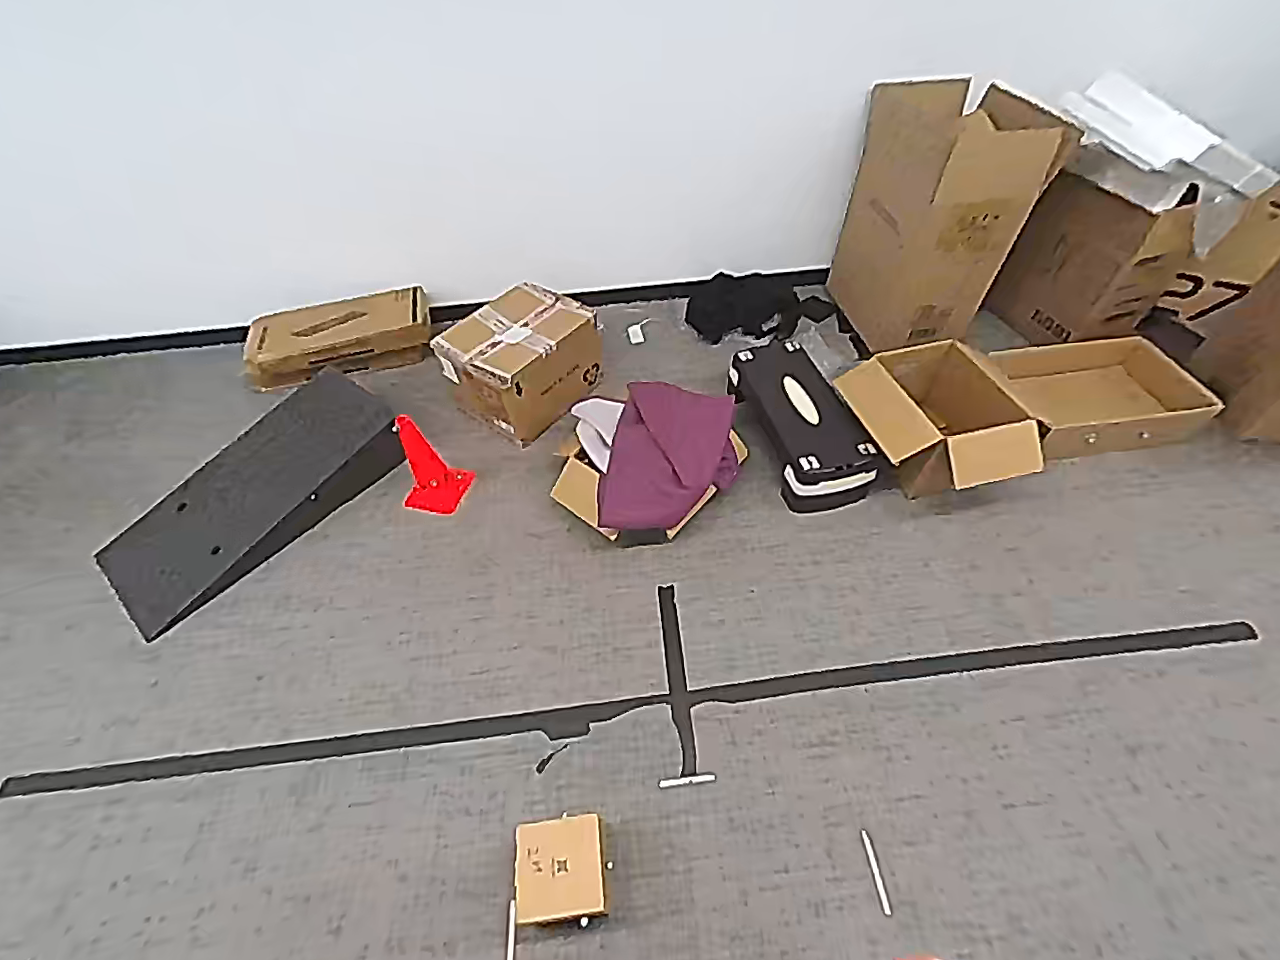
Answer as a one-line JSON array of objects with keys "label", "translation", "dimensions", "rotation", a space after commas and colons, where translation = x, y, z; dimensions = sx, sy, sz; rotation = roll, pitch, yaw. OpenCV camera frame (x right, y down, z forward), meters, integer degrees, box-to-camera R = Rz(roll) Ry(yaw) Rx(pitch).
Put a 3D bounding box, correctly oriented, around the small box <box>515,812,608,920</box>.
[{"label": "small box", "translation": [-0.162, 0.826, 1.158], "dimensions": [0.179, 0.176, 0.168], "rotation": [-7, 50, -2]}]
